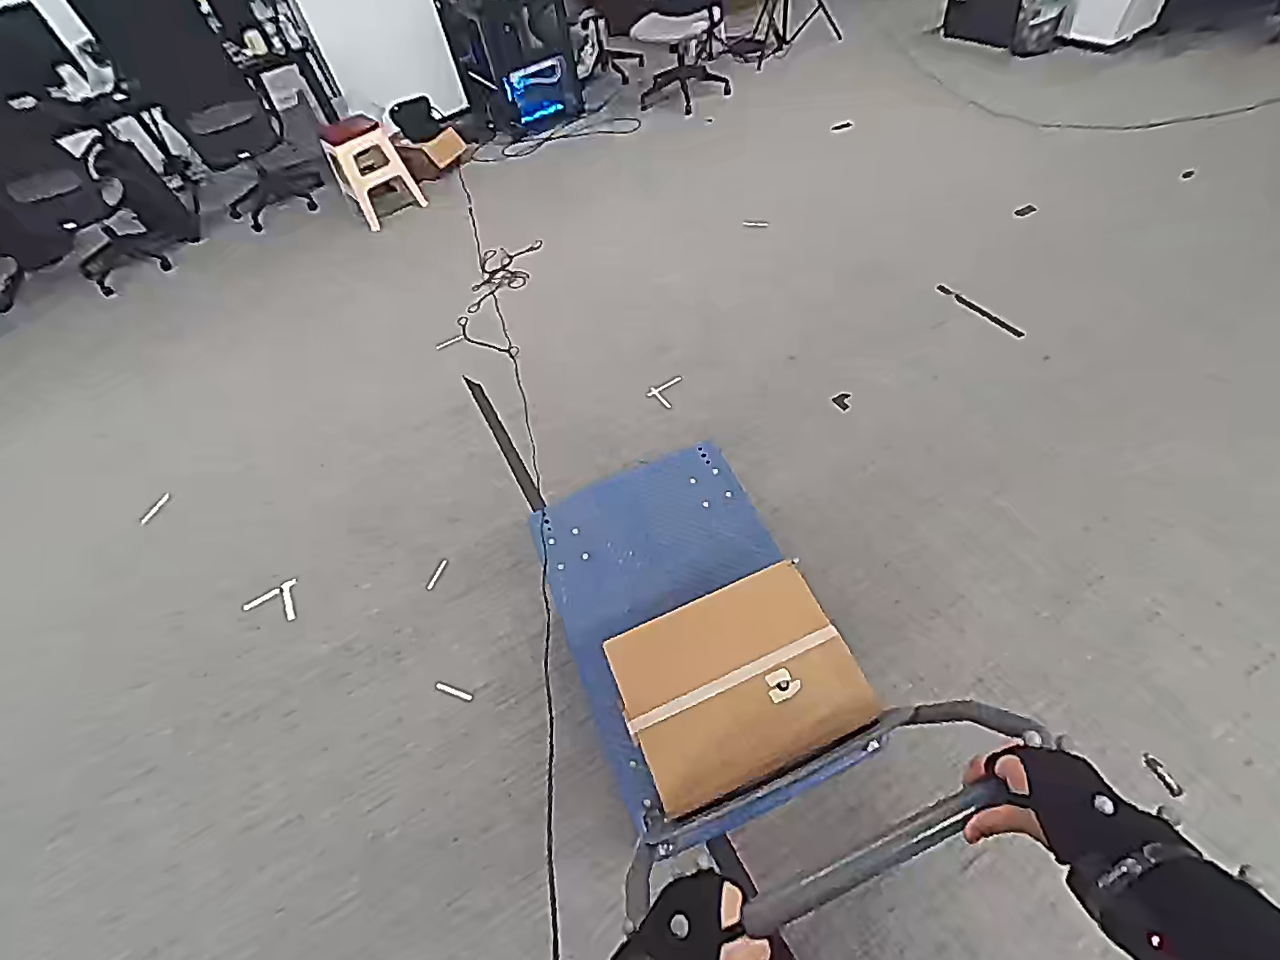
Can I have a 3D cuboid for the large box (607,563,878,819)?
[{"bbox_3d":[0.189,0.435,1.109,0.408,0.320,0.320,-23,61,-7],"label":"large box"}]
